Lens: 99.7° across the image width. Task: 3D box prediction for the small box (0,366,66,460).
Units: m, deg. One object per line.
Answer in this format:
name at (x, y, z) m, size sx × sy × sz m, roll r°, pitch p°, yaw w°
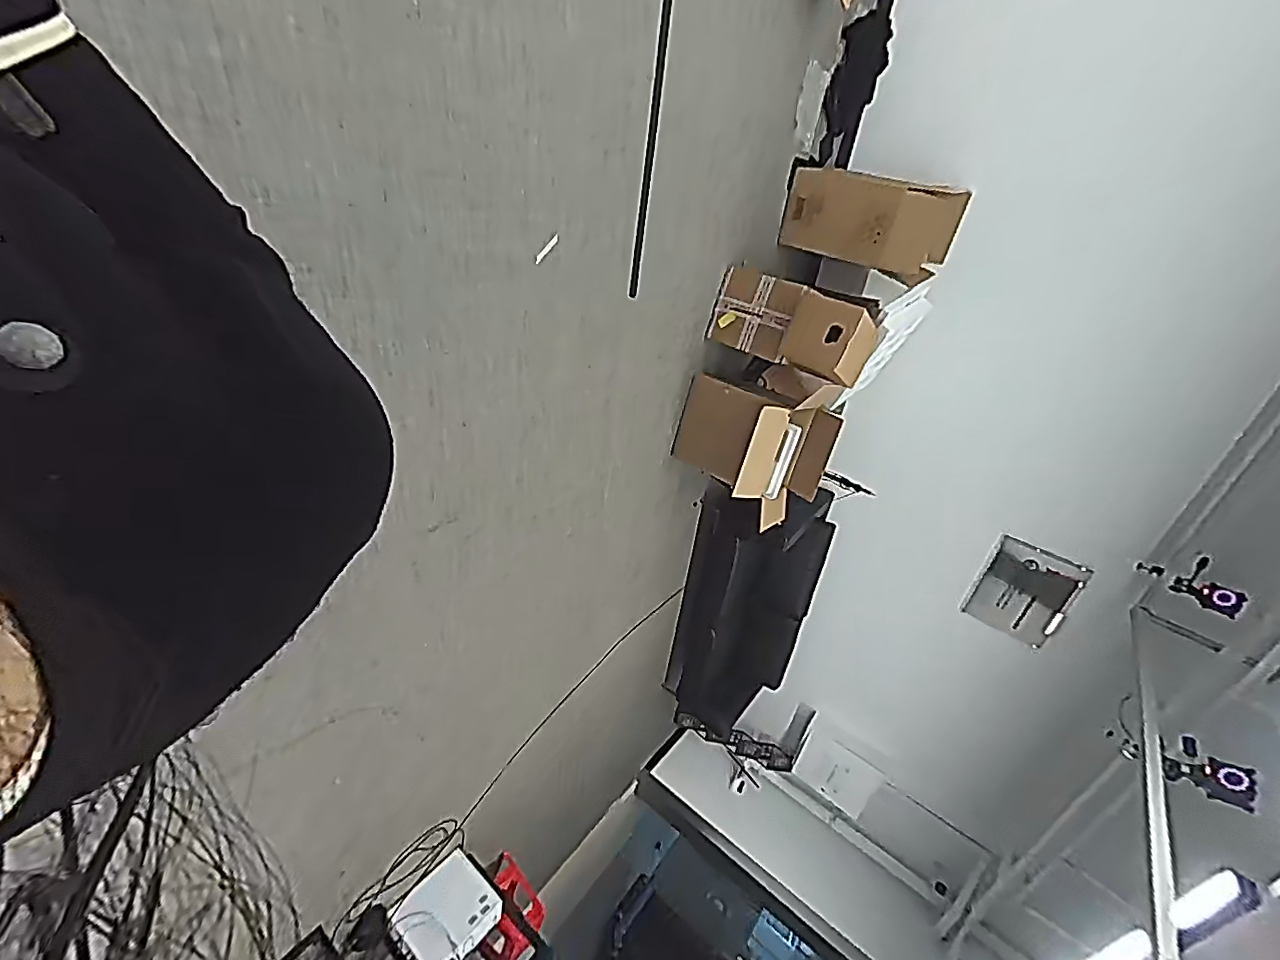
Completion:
small box at (-0.944, -0.049, 0.756) m, size 0.179 × 0.176 × 0.168 m, roll -28°, pitch 135°, yaw -45°
